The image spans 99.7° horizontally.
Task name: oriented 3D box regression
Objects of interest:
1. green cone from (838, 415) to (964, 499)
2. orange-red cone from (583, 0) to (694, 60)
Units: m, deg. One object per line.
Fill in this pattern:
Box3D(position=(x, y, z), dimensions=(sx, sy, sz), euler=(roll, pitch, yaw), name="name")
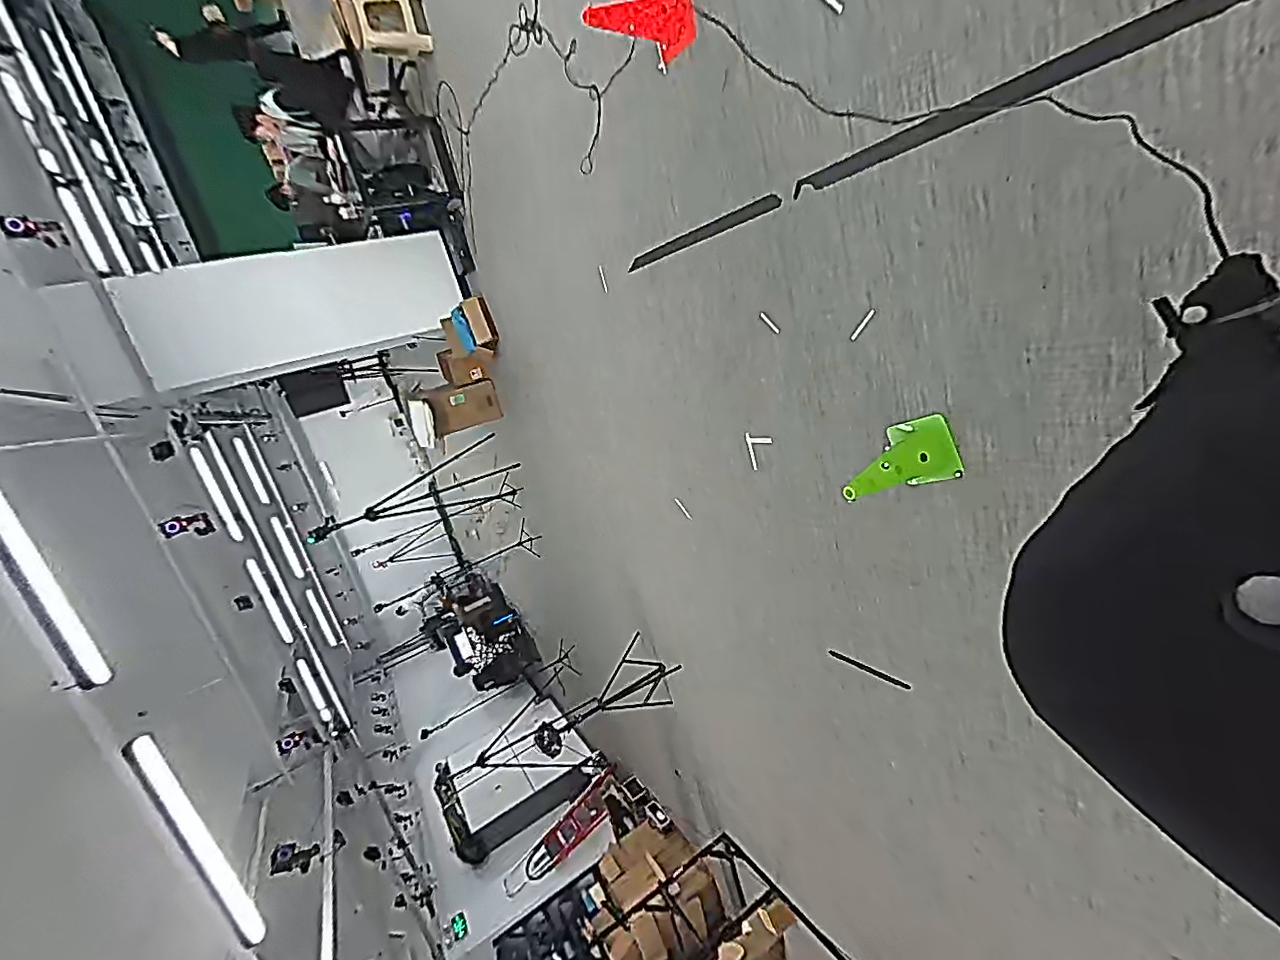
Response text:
Box3D(position=(0.720, -0.032, 1.572), dimensions=(0.202, 0.368, 0.200), euler=(-21, 92, 66), name="green cone")
Box3D(position=(-0.025, -1.533, 1.784), dimensions=(0.199, 0.360, 0.198), euler=(22, 130, 55), name="orange-red cone")
